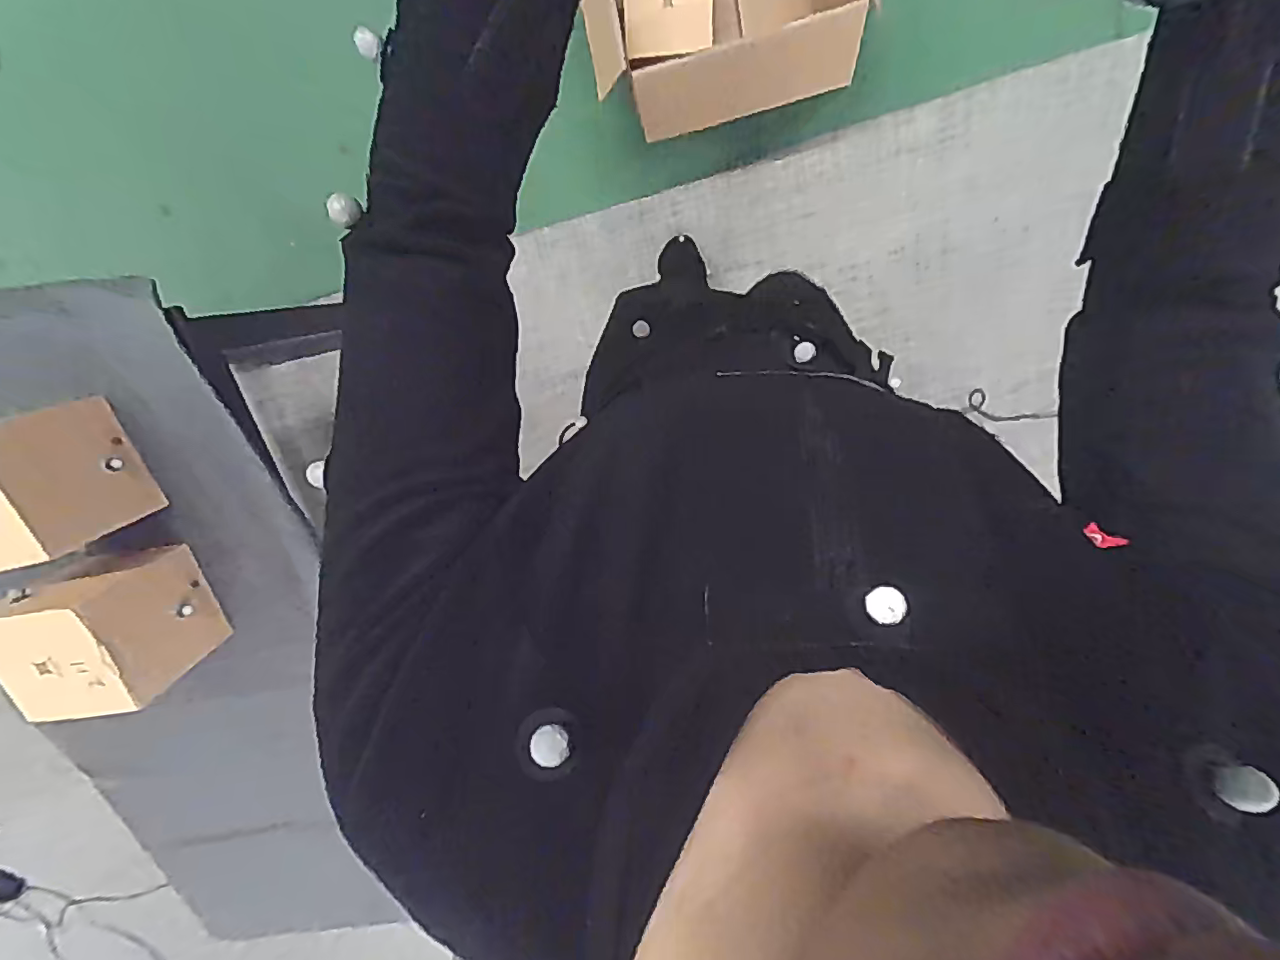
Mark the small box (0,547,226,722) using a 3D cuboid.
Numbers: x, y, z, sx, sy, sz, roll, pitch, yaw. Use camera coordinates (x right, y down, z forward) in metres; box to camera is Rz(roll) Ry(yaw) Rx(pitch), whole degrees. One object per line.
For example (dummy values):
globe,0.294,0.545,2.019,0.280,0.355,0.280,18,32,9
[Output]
small box,-0.751,0.211,0.764,0.179,0.176,0.168,-8,110,6
